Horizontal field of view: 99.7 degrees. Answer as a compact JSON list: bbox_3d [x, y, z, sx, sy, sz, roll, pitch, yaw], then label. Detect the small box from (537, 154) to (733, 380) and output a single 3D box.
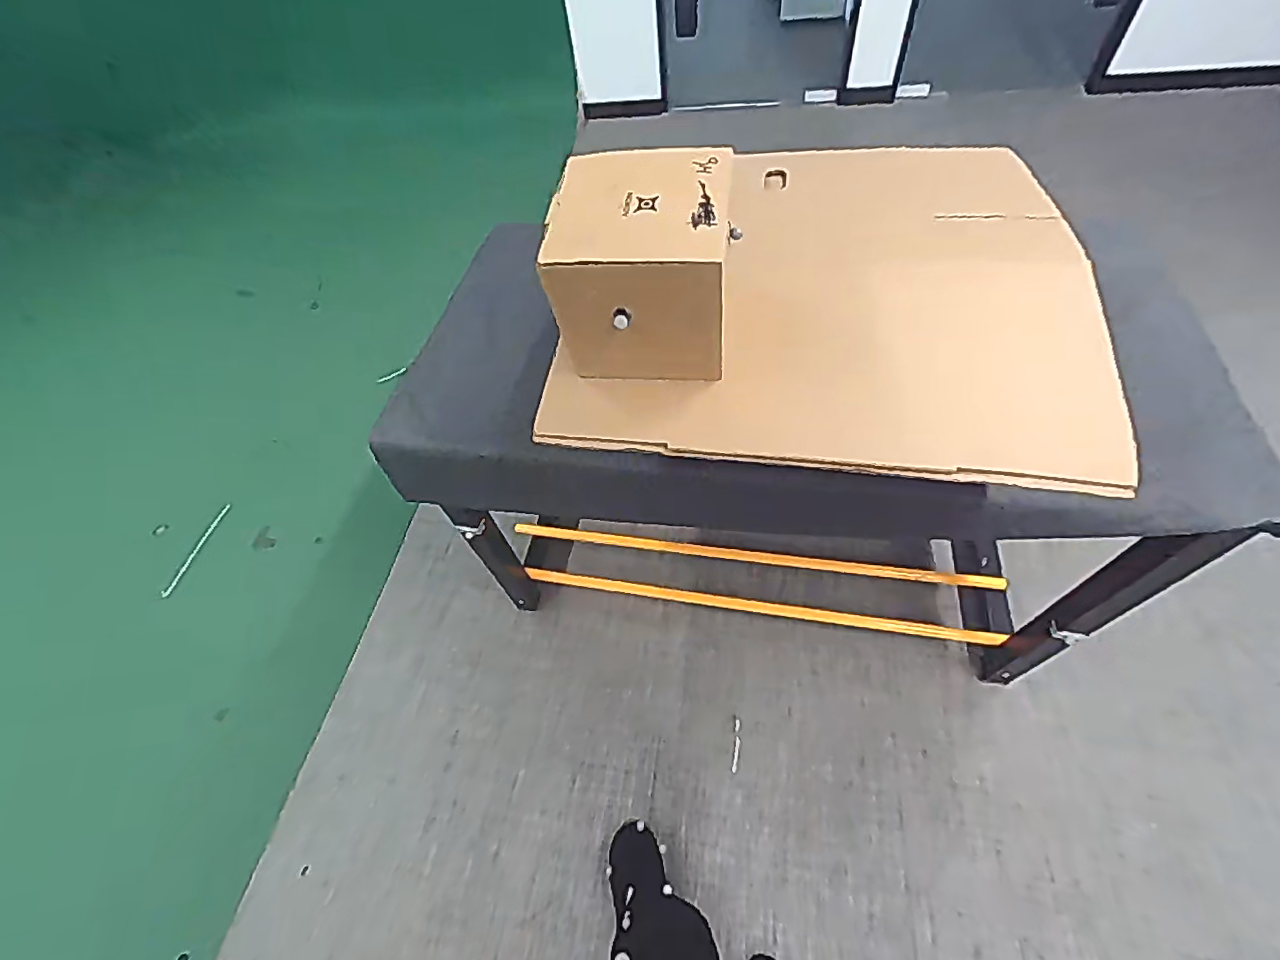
[{"bbox_3d":[0.009,-0.226,0.600,0.179,0.176,0.168,3,63,11],"label":"small box"}]
